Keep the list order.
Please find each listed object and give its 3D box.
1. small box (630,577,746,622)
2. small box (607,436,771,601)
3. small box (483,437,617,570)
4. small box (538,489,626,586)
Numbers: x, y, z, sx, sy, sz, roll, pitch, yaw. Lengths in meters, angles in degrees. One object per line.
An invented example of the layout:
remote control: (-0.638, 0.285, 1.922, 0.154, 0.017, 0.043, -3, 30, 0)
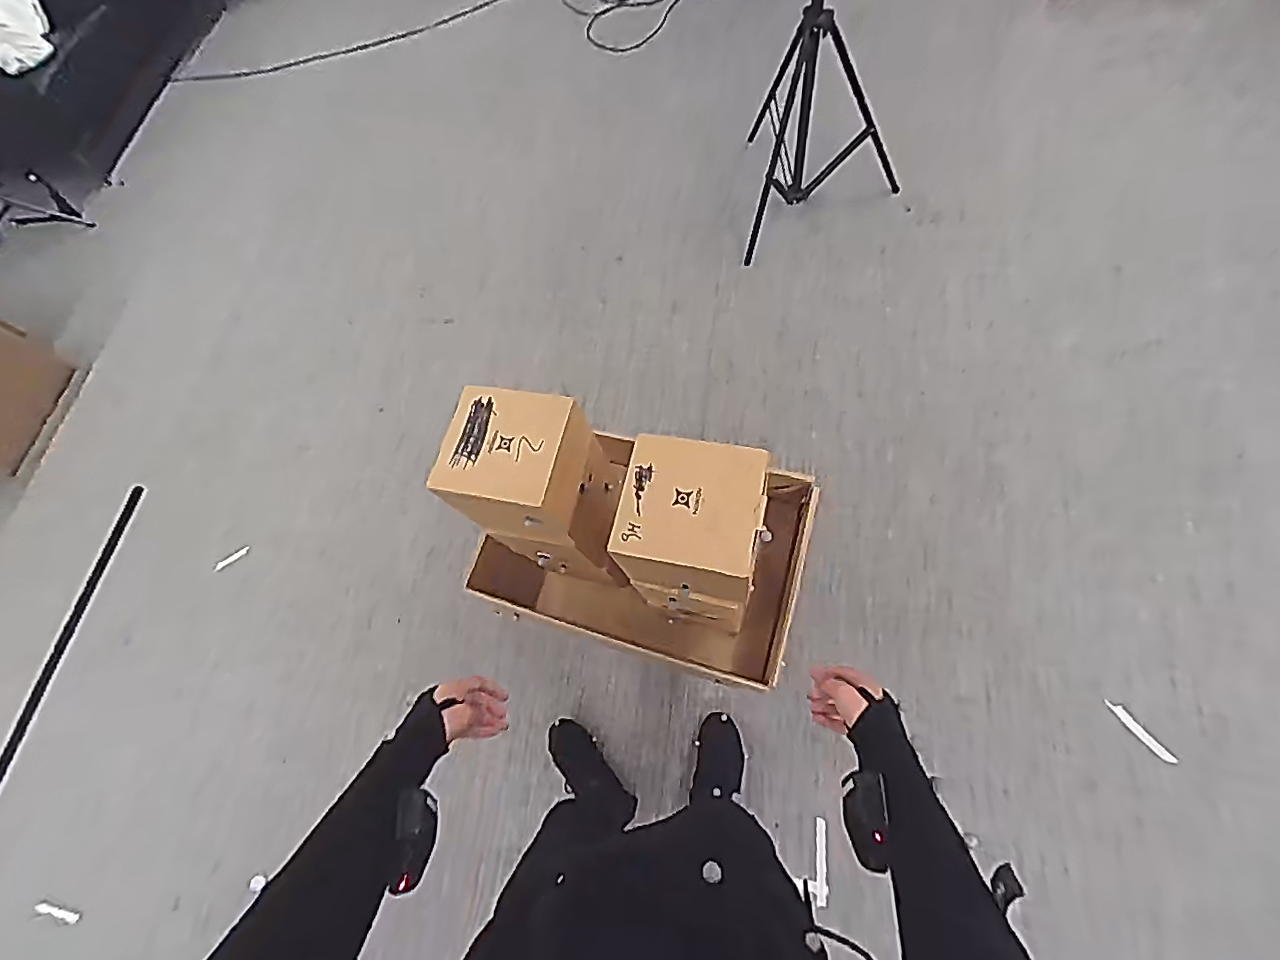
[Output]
small box: (0.097, 0.124, 0.888, 0.168, 0.176, 0.179, 12, 70, 14)
small box: (0.074, 0.060, 0.739, 0.179, 0.176, 0.168, 10, 69, 13)
small box: (-0.147, 0.046, 0.961, 0.168, 0.176, 0.179, 8, 70, 15)
small box: (-0.111, 0.110, 1.108, 0.179, 0.176, 0.168, 11, 71, 13)
